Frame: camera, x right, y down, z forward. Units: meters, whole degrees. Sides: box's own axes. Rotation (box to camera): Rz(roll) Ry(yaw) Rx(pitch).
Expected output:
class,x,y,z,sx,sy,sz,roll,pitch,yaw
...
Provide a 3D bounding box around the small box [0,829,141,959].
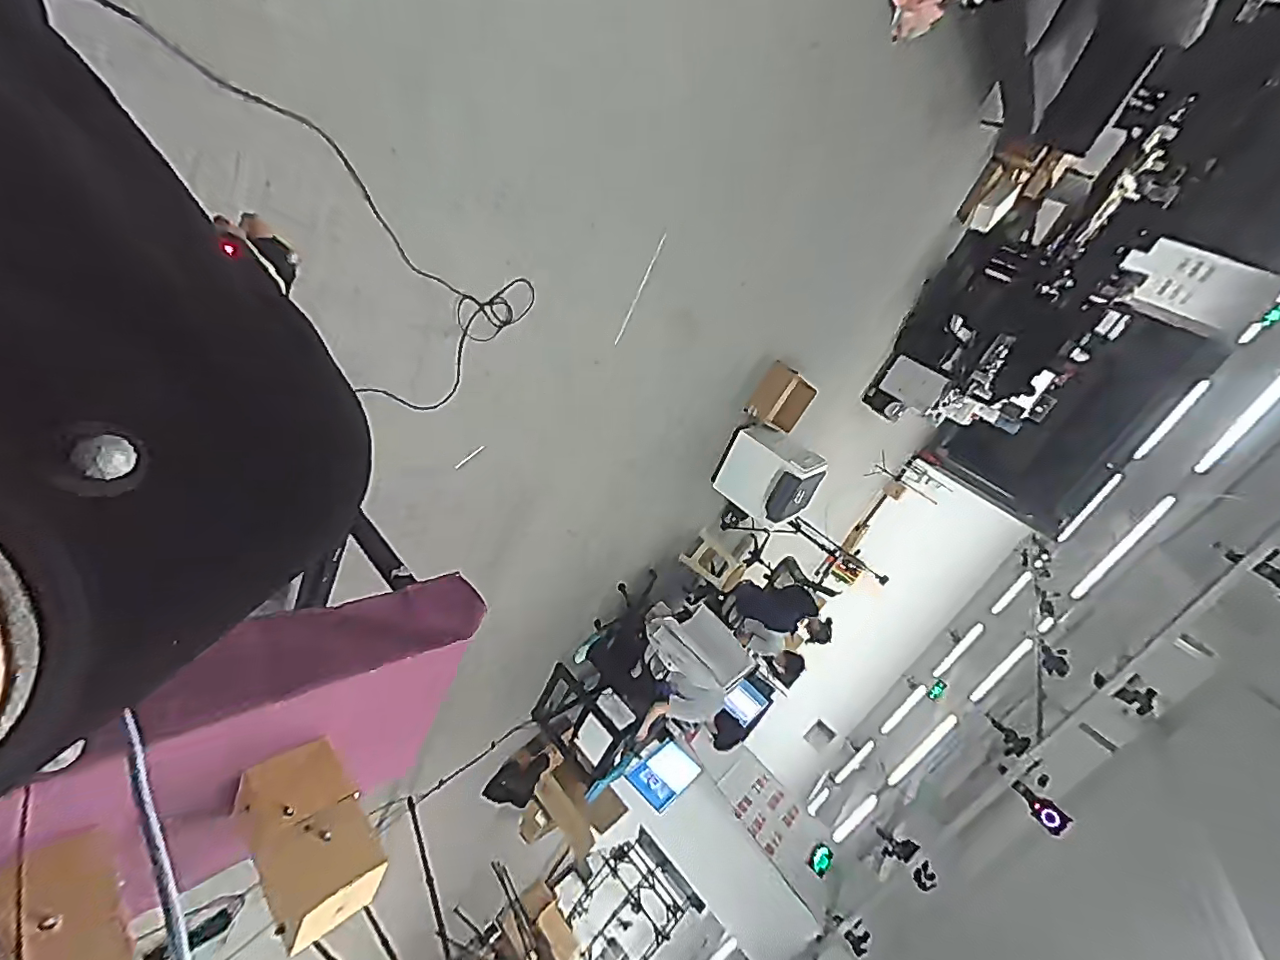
class,x,y,z,sx,sy,sz,roll,pitch,yaw
small box,-0.985,0.741,0.909,0.179,0.176,0.168,-4,128,-54

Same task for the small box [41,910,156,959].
class,x,y,z,sx,sy,sz,roll,pitch,yaw
small box,-0.873,0.835,0.835,0.179,0.176,0.168,-7,130,-54

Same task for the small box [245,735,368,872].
class,x,y,z,sx,sy,sz,roll,pitch,yaw
small box,-0.759,0.722,1.228,0.179,0.176,0.168,-7,130,-52

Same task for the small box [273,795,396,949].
class,x,y,z,sx,sy,sz,roll,pitch,yaw
small box,-0.653,0.821,1.149,0.168,0.176,0.179,-8,131,-53
